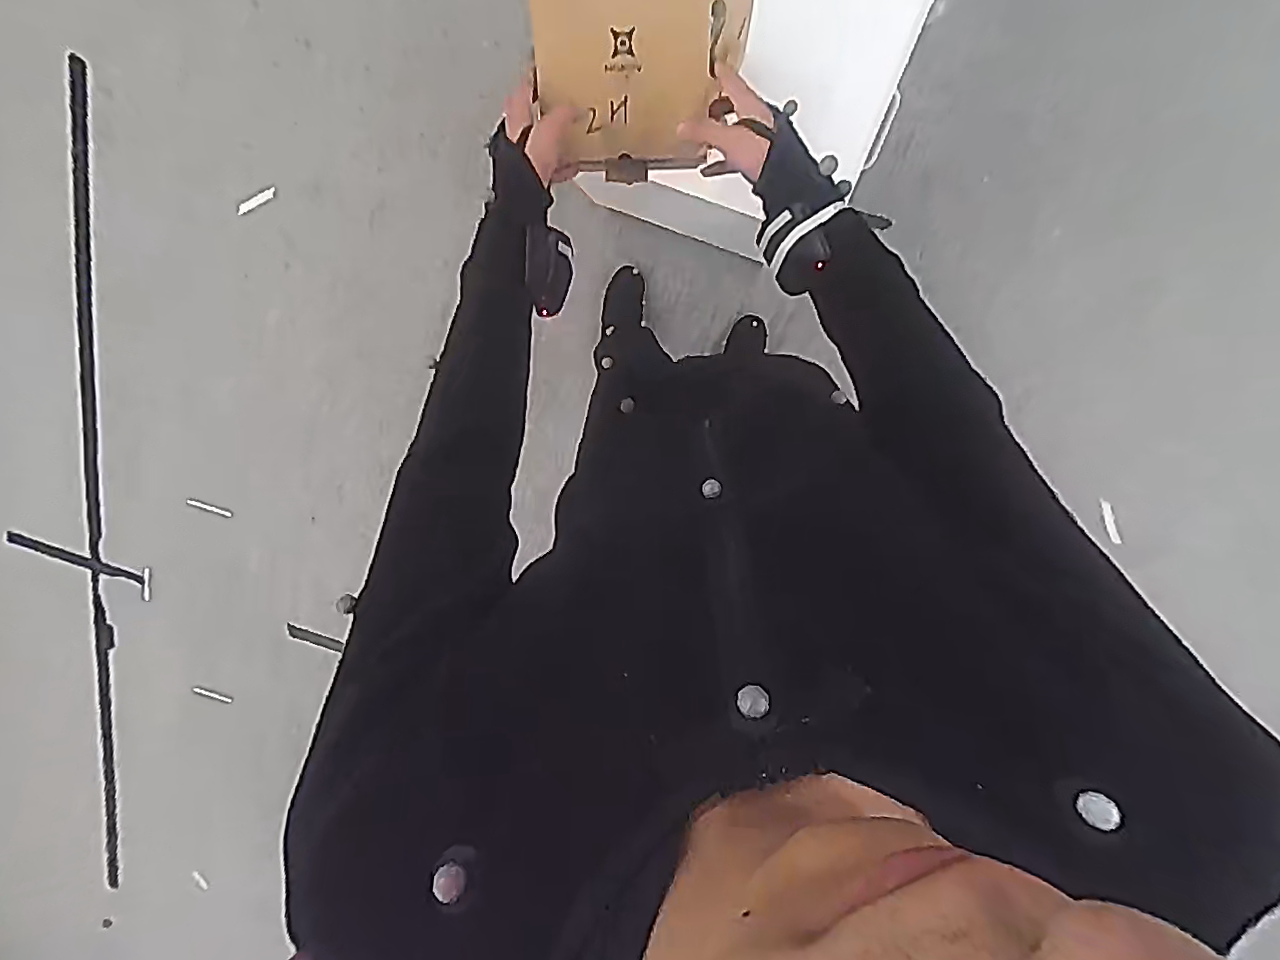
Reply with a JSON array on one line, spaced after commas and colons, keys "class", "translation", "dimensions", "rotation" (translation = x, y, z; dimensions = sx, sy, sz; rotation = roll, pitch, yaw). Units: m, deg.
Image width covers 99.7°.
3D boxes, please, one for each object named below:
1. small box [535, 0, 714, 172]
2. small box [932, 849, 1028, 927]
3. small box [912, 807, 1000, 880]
[{"class": "small box", "translation": [-0.013, -0.435, 0.576], "dimensions": [0.168, 0.176, 0.179], "rotation": [1, 118, 2]}, {"class": "small box", "translation": [1.078, 1.335, 1.733], "dimensions": [0.168, 0.176, 0.179], "rotation": [20, 108, -1]}, {"class": "small box", "translation": [1.093, 1.286, 1.887], "dimensions": [0.179, 0.176, 0.168], "rotation": [18, 107, 0]}]
